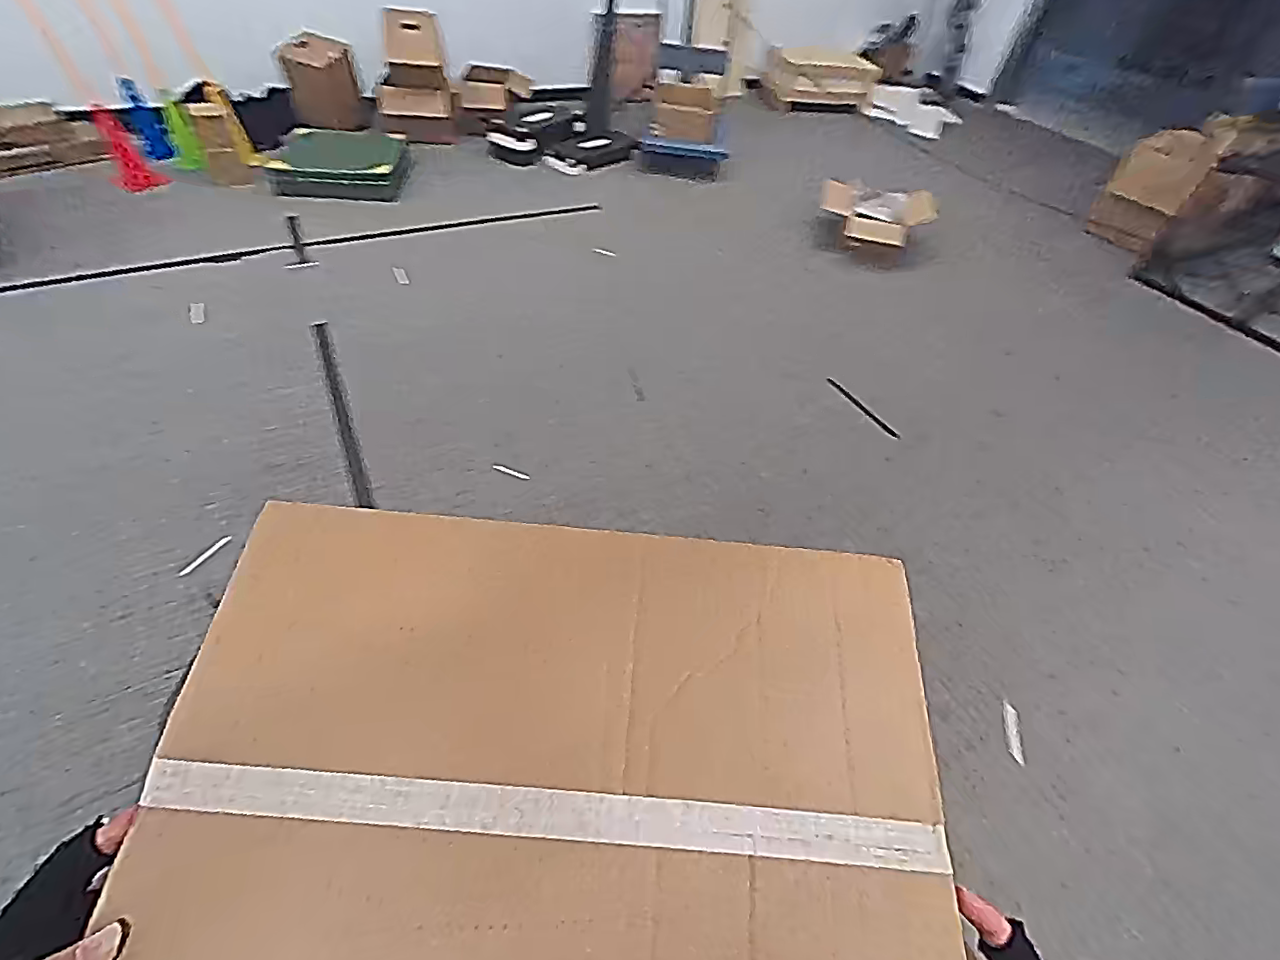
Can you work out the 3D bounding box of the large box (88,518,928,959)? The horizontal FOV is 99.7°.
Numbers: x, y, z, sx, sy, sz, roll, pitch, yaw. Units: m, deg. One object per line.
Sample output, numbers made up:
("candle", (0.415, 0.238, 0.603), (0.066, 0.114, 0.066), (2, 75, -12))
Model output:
("large box", (-0.061, 0.240, 0.418), (0.408, 0.320, 0.320), (4, 64, -1))
